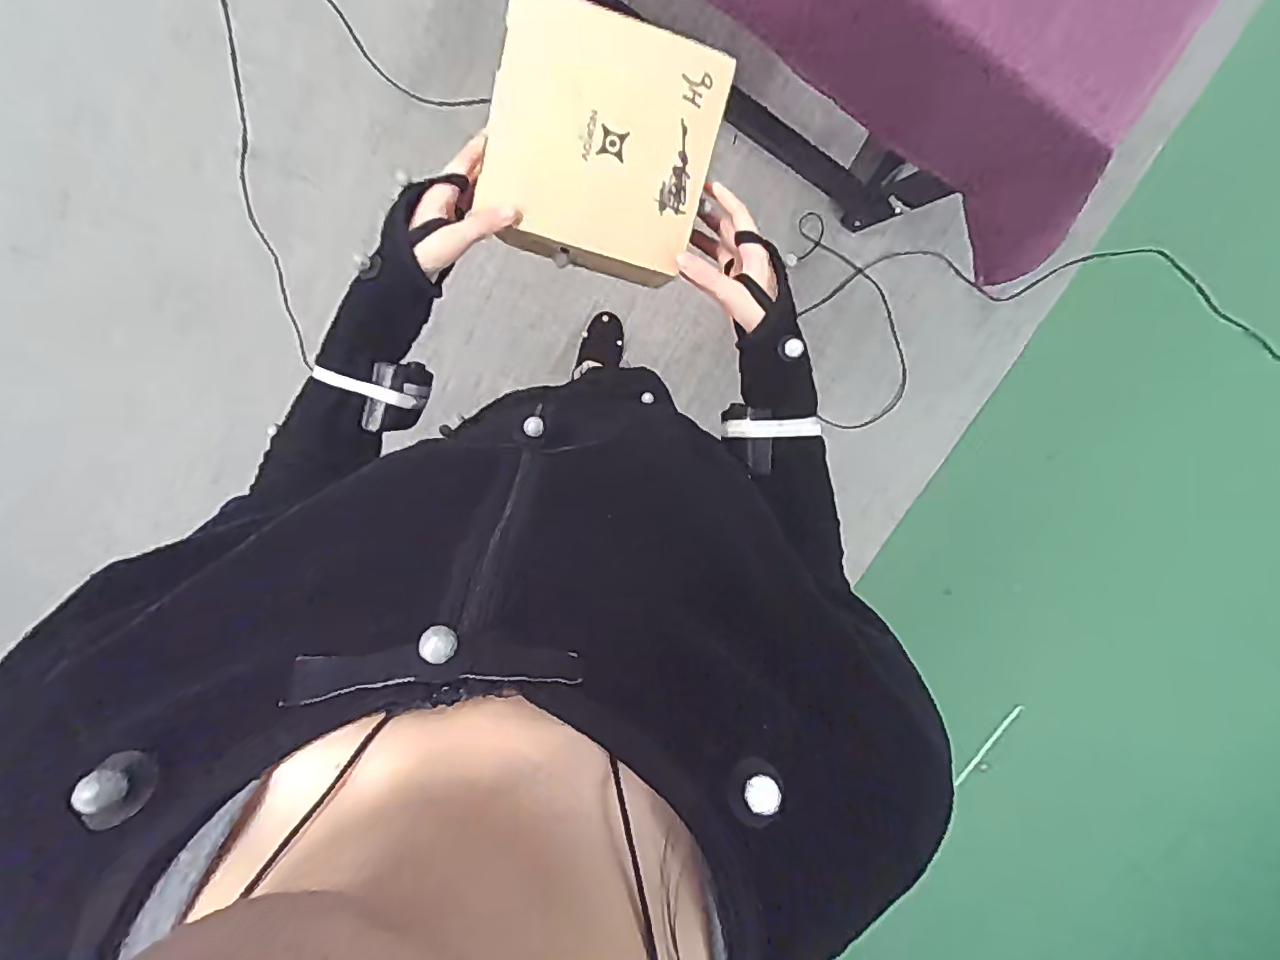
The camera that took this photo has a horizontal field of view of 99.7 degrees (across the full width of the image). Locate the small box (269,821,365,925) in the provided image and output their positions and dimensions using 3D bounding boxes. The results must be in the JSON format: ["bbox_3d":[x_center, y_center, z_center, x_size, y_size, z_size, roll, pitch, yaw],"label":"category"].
[{"bbox_3d":[-1.009,1.235,1.706,0.168,0.176,0.179,37,99,-13],"label":"small box"}]
